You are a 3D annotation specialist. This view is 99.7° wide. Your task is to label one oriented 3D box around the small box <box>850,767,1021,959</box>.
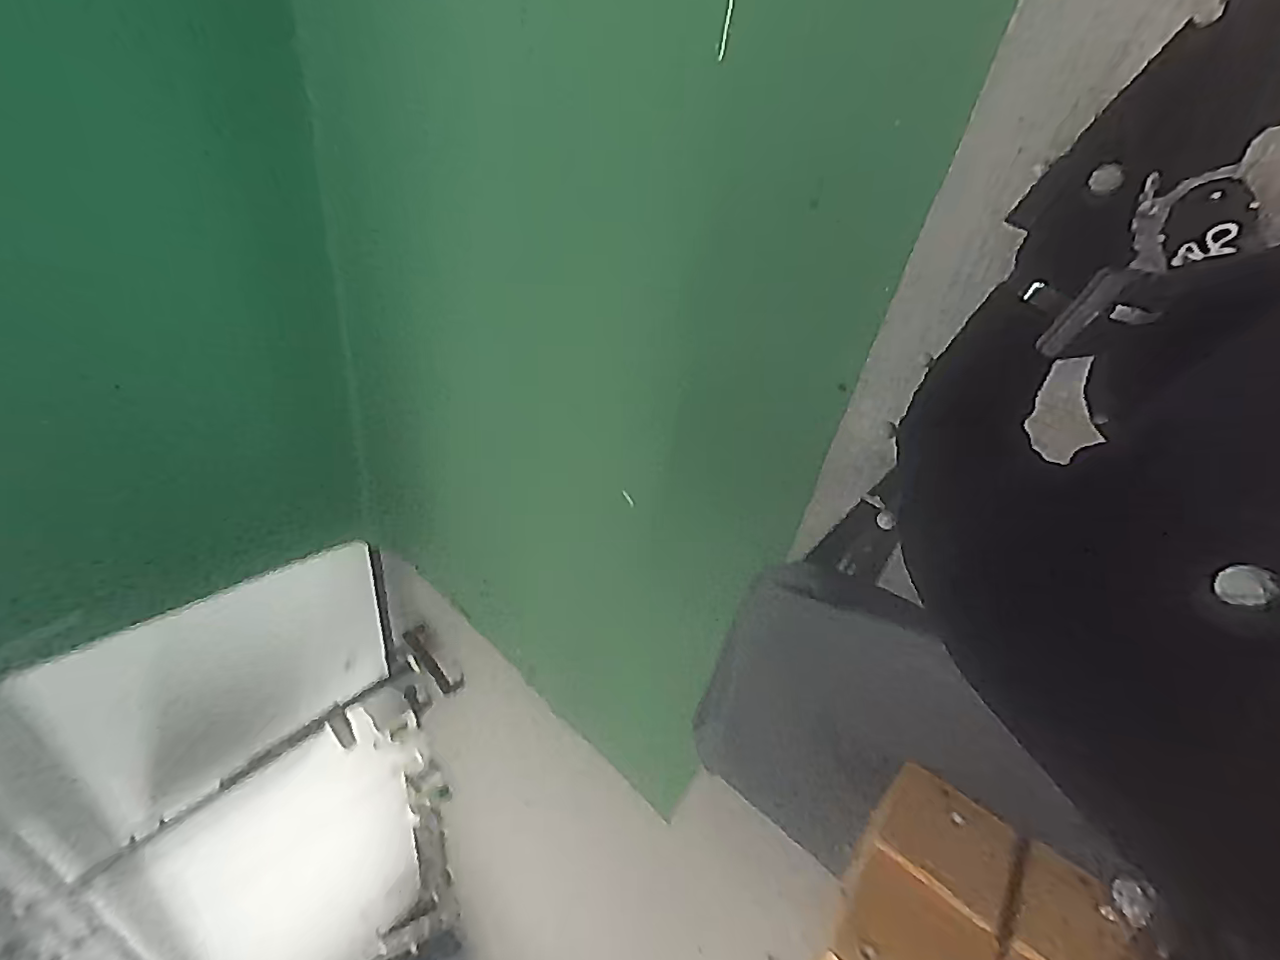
[{"bbox_3d":[0.456,0.595,0.834,0.168,0.176,0.179,28,126,29],"label":"small box"}]
